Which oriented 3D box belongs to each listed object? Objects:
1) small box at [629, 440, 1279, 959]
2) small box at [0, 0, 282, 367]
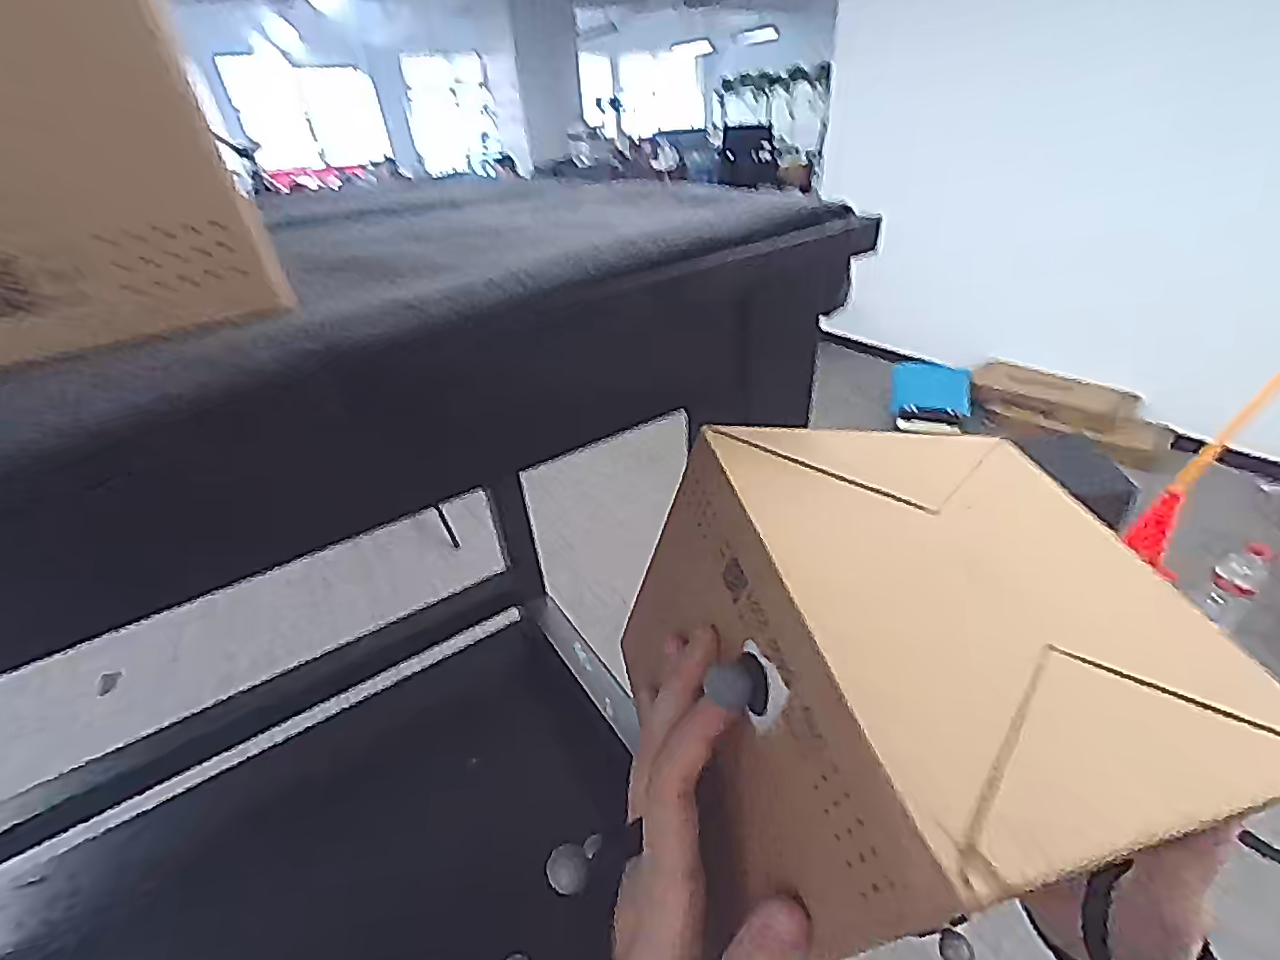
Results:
[{"bbox_3d":[0.110,0.095,0.254,0.179,0.176,0.168,2,39,-19],"label":"small box"},{"bbox_3d":[-0.231,-0.128,0.154,0.168,0.176,0.179,-24,38,-25],"label":"small box"}]
